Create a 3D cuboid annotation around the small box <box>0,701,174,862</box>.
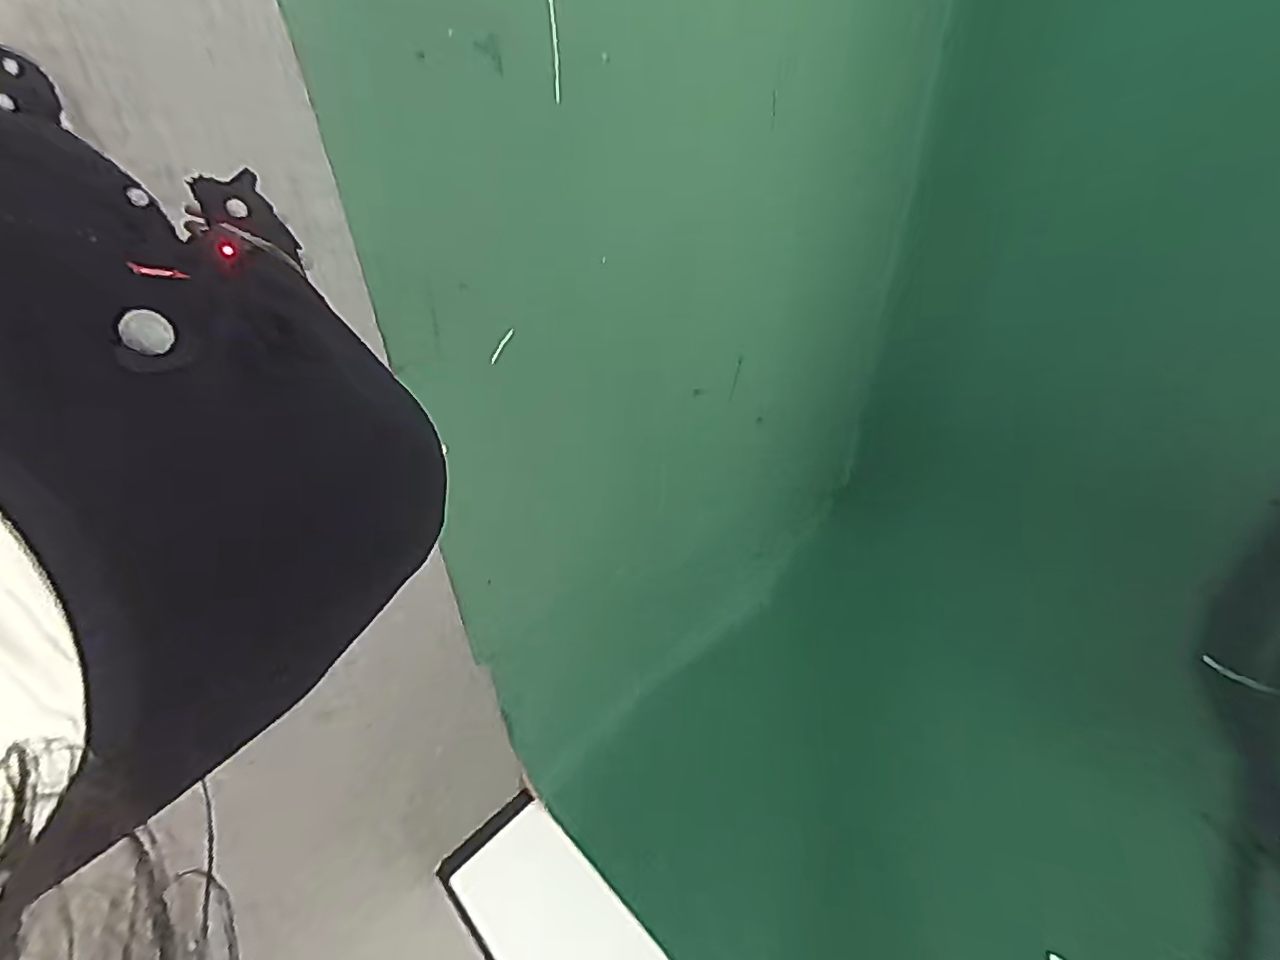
[{"bbox_3d":[-1.027,0.545,1.003,0.168,0.176,0.179,-36,134,-33],"label":"small box"}]
